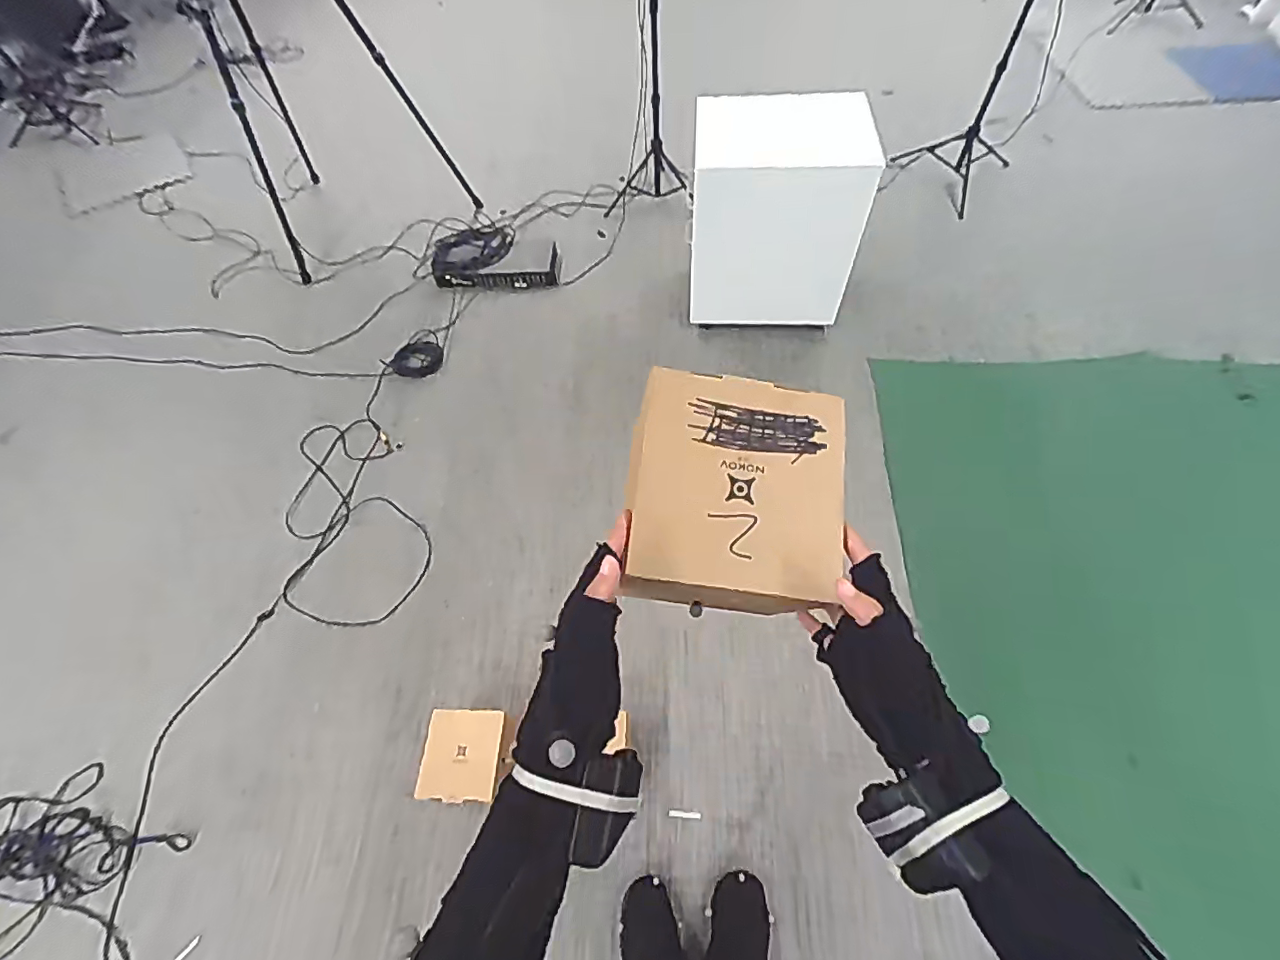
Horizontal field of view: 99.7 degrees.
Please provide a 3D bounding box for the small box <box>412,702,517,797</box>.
[{"bbox_3d":[-0.386,0.615,1.229,0.168,0.176,0.179,0,59,4],"label":"small box"}]

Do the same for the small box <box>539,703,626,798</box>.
[{"bbox_3d":[-0.120,0.610,1.214,0.168,0.176,0.179,0,58,3],"label":"small box"}]
